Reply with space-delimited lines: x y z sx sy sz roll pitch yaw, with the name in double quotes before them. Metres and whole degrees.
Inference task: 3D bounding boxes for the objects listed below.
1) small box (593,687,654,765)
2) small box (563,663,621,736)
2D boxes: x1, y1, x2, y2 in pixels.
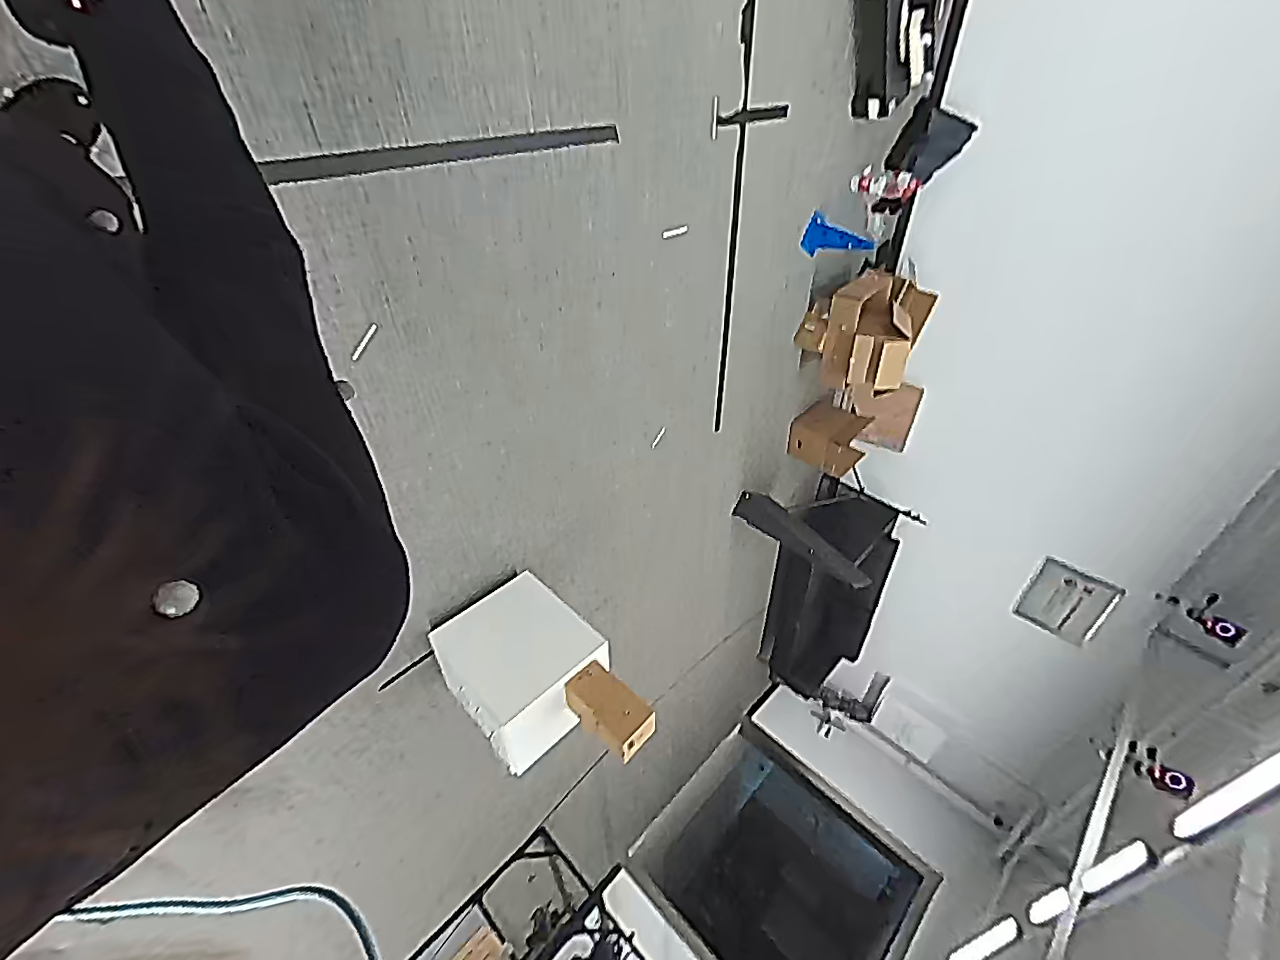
"small box" -0.066 0.936 2.066 0.179 0.176 0.168 -36 142 -34
"small box" -0.189 0.868 2.152 0.168 0.176 0.179 -32 138 -36
